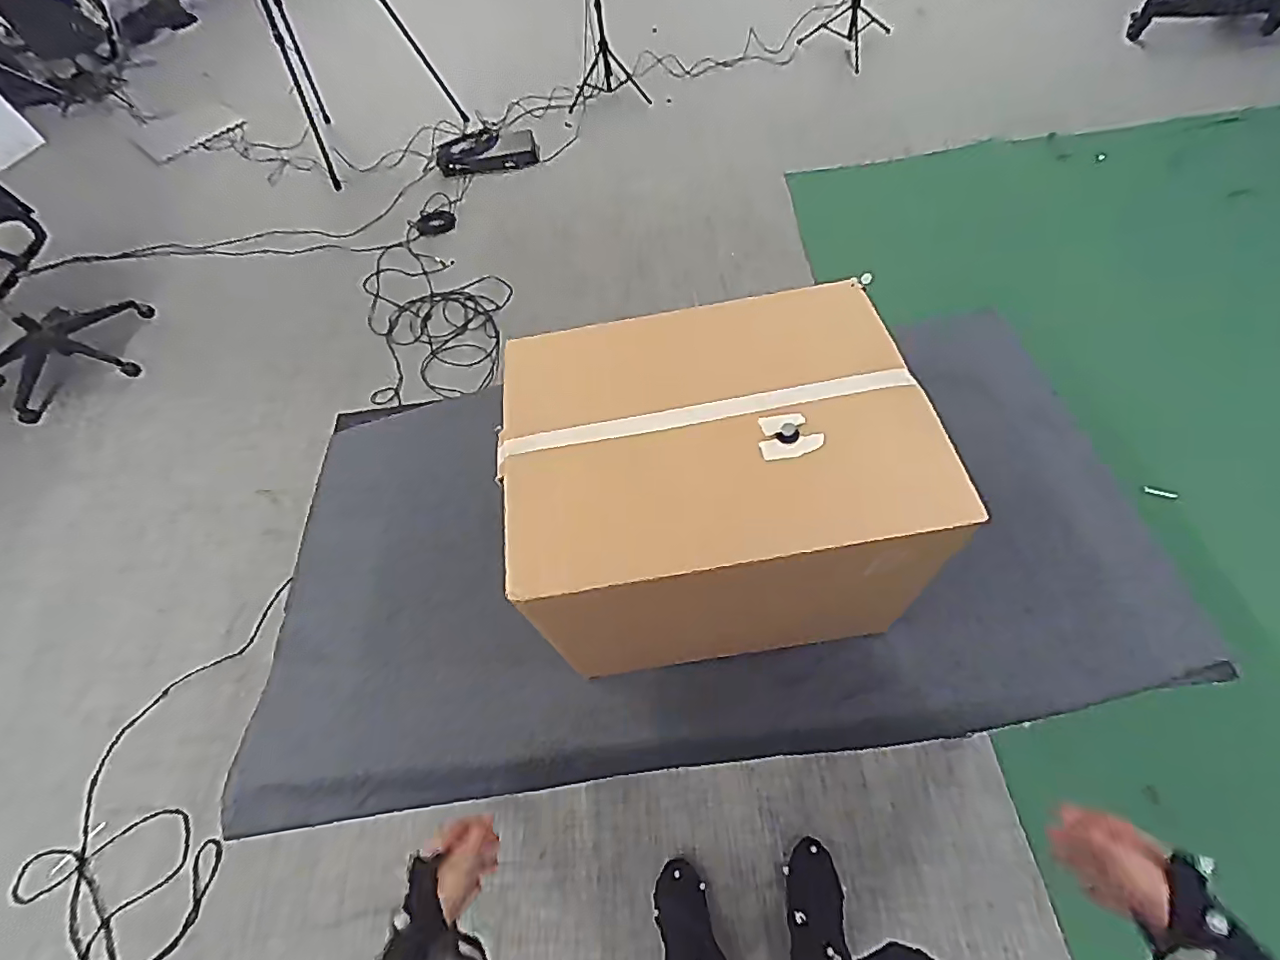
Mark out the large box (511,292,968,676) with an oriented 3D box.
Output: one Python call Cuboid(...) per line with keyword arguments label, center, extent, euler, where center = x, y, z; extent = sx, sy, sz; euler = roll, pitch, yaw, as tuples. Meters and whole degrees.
Cuboid(label="large box", center=(0.082, 0.023, 0.669), extent=(0.408, 0.320, 0.320), euler=(-10, 59, 1))
